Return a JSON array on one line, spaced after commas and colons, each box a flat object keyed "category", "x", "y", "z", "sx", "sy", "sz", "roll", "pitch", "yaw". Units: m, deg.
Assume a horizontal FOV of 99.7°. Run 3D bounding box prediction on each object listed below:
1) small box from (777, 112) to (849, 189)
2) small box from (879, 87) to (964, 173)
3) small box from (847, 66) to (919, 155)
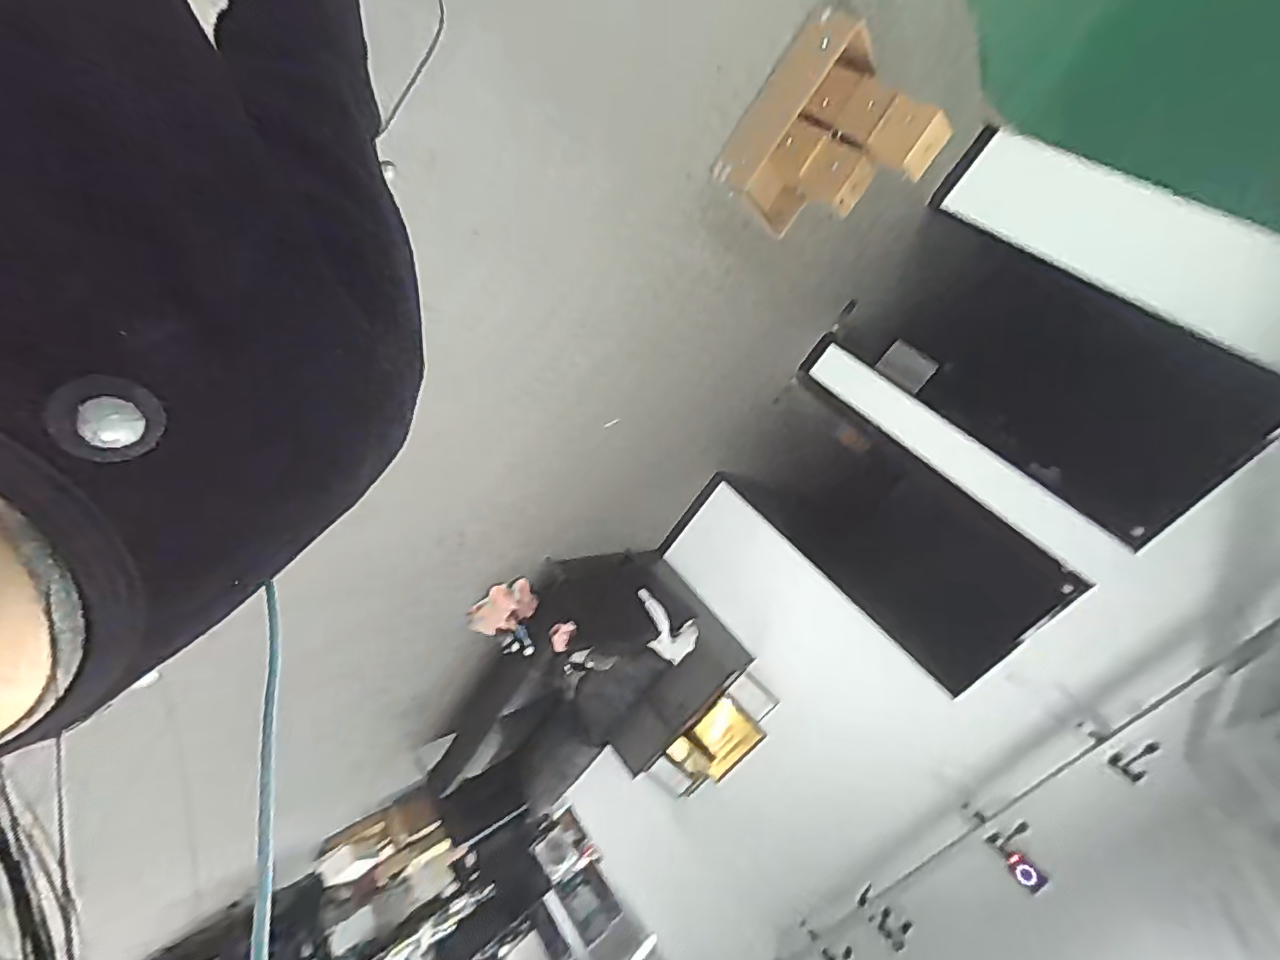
[{"category": "small box", "x": 0.651, "y": -1.247, "z": 2.041, "sx": 0.179, "sy": 0.176, "sz": 0.168, "roll": 6, "pitch": 124, "yaw": -55}, {"category": "small box", "x": 0.935, "y": -1.173, "z": 1.806, "sx": 0.179, "sy": 0.176, "sz": 0.168, "roll": -4, "pitch": 135, "yaw": -50}, {"category": "small box", "x": 0.852, "y": -1.289, "z": 1.887, "sx": 0.168, "sy": 0.176, "sz": 0.179, "roll": 1, "pitch": 131, "yaw": -52}]
